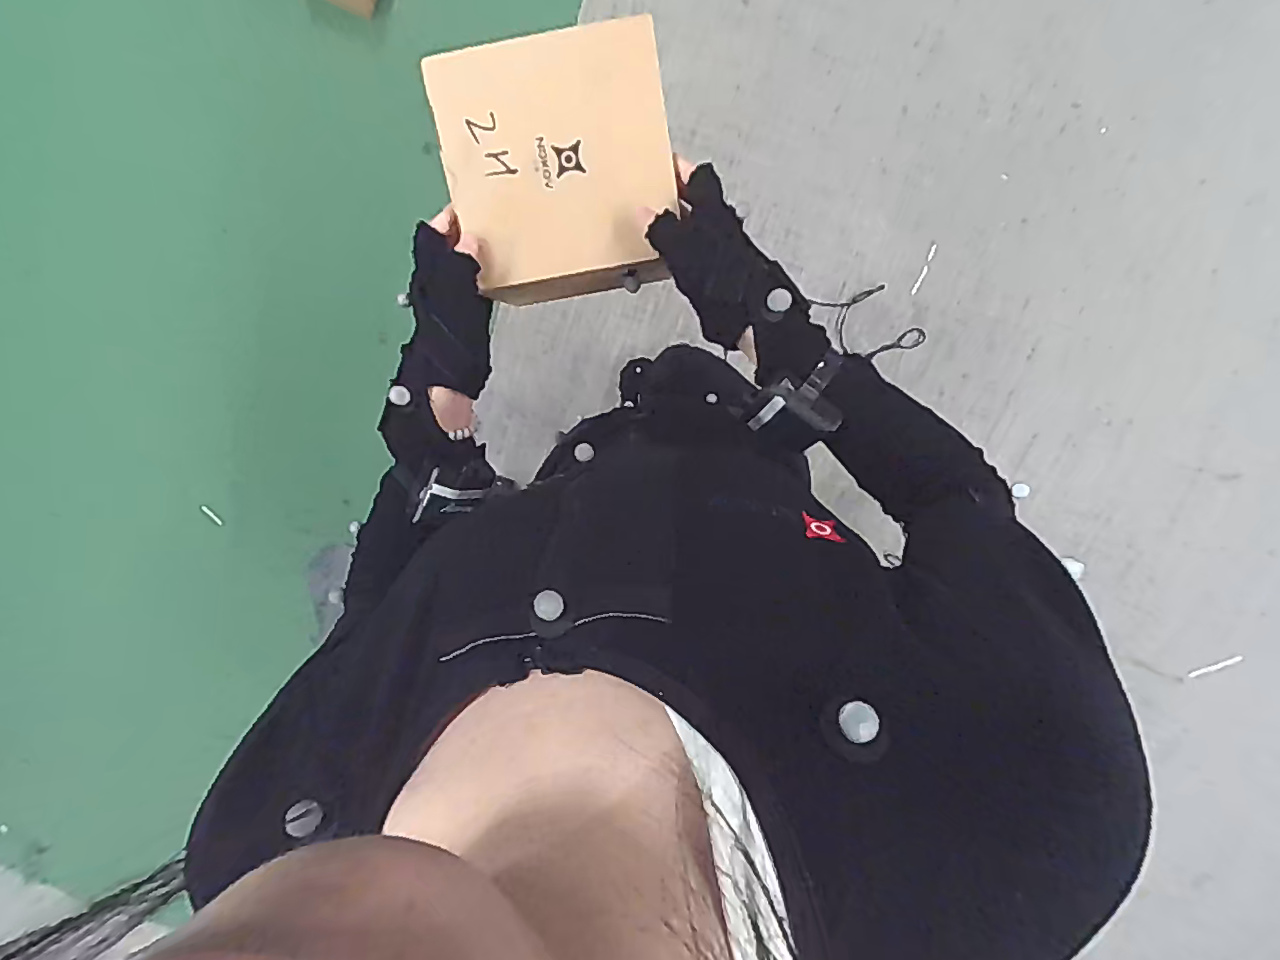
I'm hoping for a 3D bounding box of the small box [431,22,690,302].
[{"bbox_3d":[-0.059,-0.263,0.490,0.179,0.176,0.168,-9,104,1],"label":"small box"}]
